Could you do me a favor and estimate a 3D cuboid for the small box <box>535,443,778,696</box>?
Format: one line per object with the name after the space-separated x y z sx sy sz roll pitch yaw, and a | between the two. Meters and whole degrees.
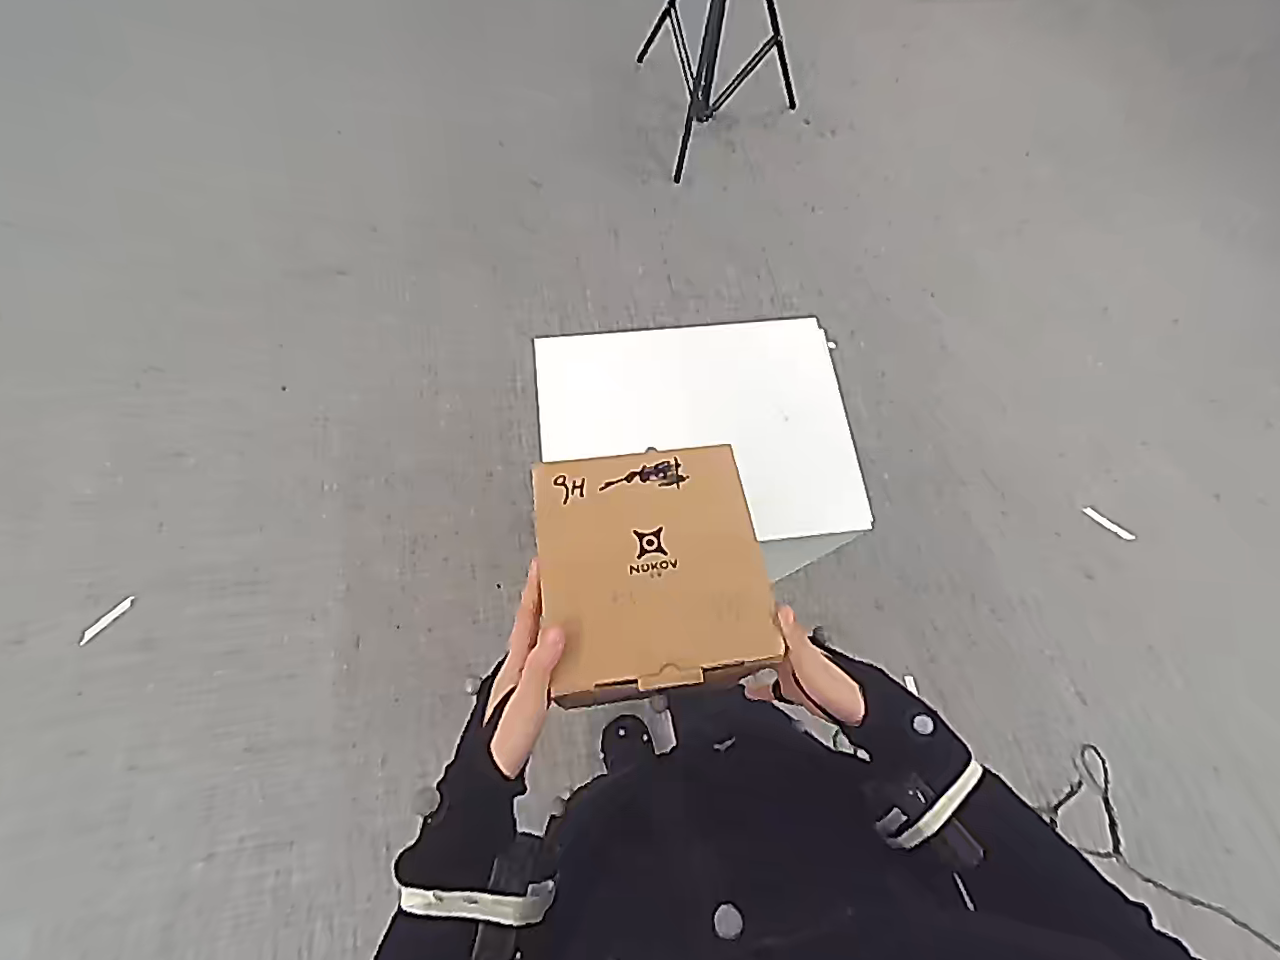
0.003 0.088 0.478 0.168 0.176 0.179 -6 65 -7 | small box
